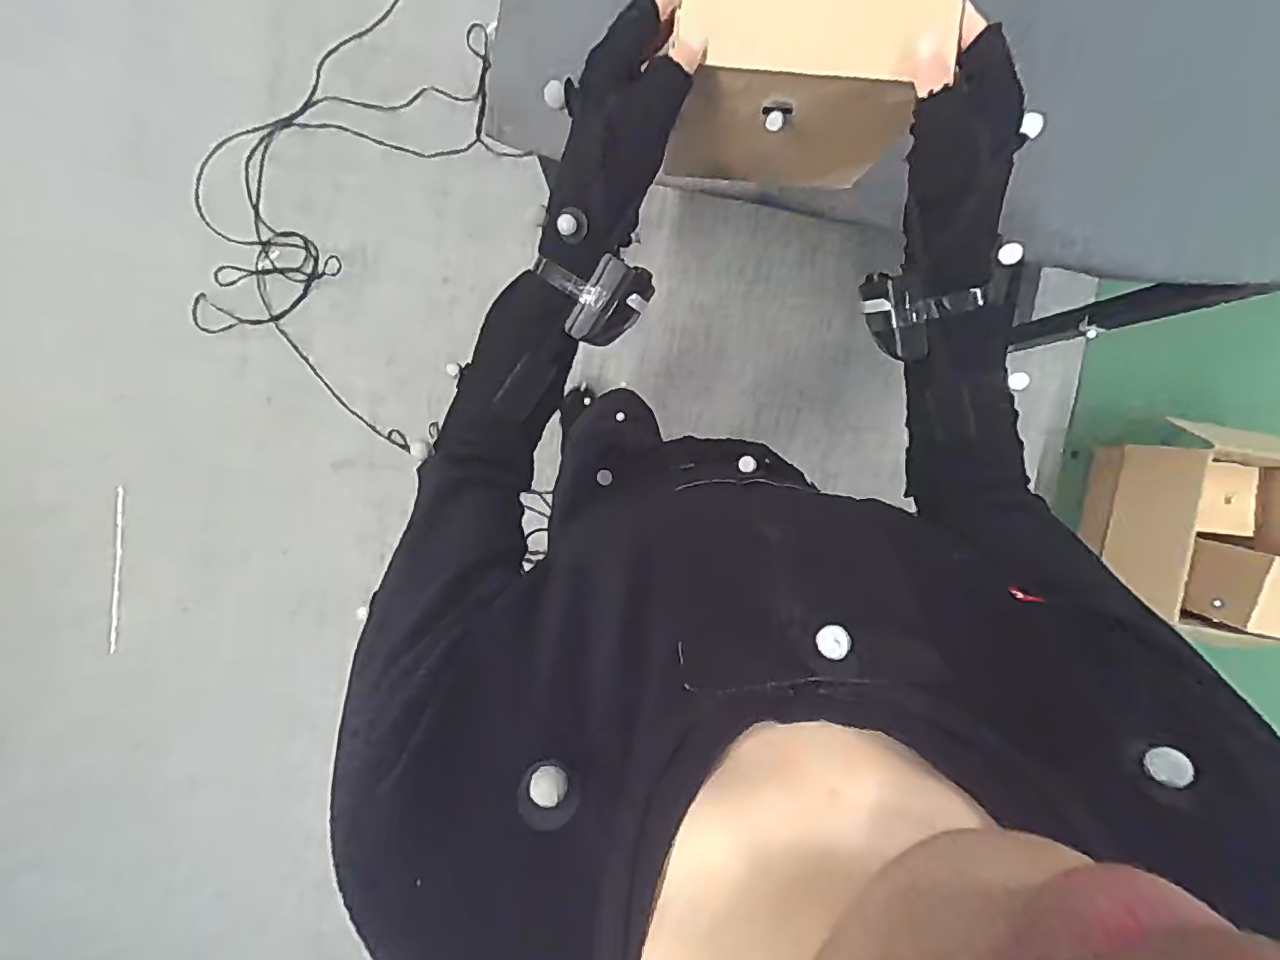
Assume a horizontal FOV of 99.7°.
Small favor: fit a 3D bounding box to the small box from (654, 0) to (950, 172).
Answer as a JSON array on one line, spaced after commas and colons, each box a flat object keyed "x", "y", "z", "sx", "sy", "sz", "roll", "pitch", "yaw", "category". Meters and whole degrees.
[{"x": 0.104, "y": -0.351, "z": 0.400, "sx": 0.179, "sy": 0.176, "sz": 0.168, "roll": 4, "pitch": 99, "yaw": -2, "category": "small box"}]
